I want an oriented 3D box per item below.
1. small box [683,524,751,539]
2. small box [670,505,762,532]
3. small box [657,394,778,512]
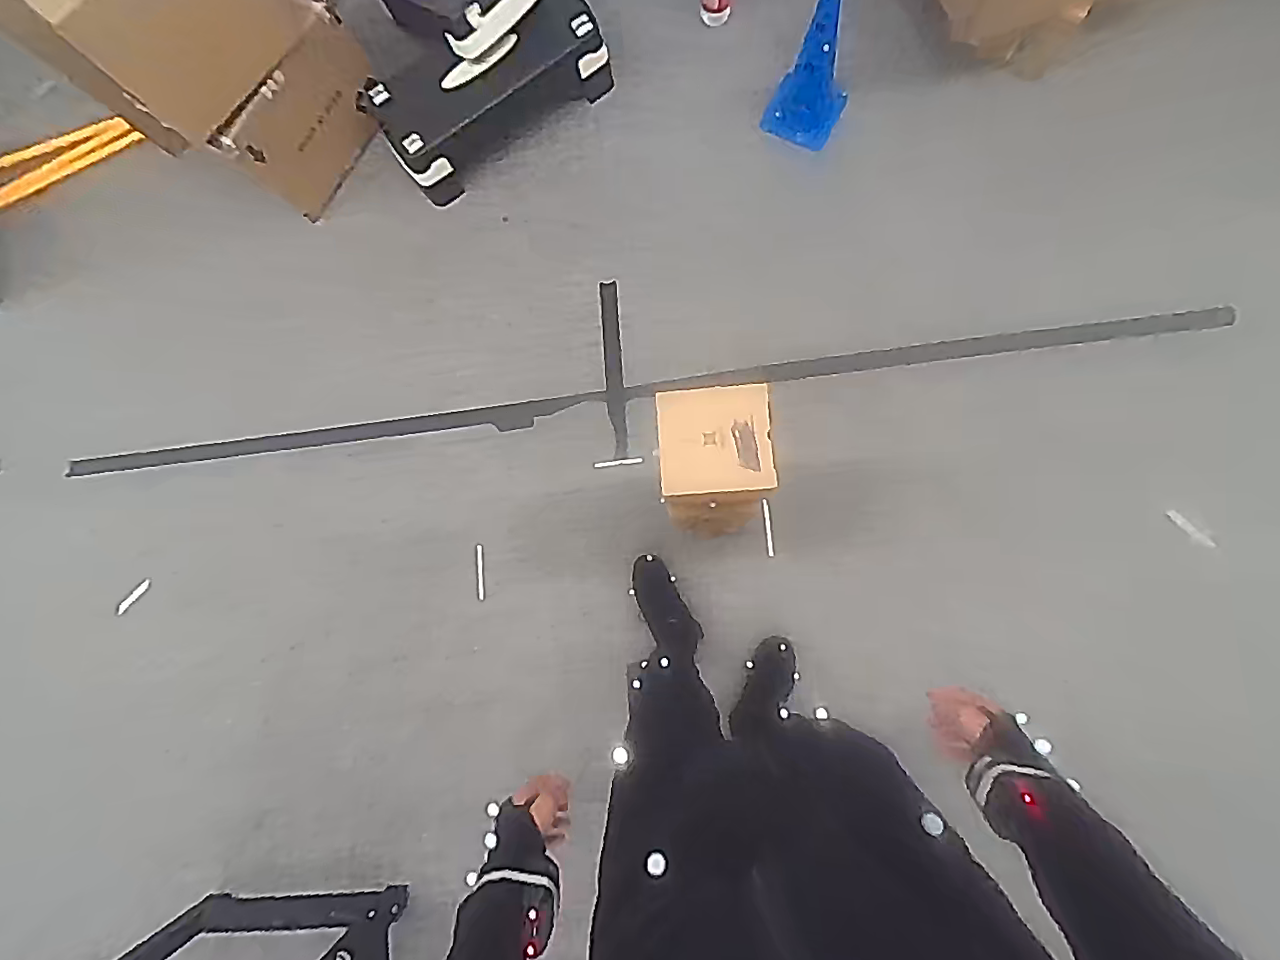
[{"bbox_3d":[0.182,0.053,1.384,0.168,0.176,0.179,-10,82,6],"label":"small box"},{"bbox_3d":[0.138,0.005,1.062,0.168,0.176,0.179,-6,82,5],"label":"small box"},{"bbox_3d":[0.124,-0.037,0.903,0.179,0.176,0.168,-5,82,6],"label":"small box"}]
